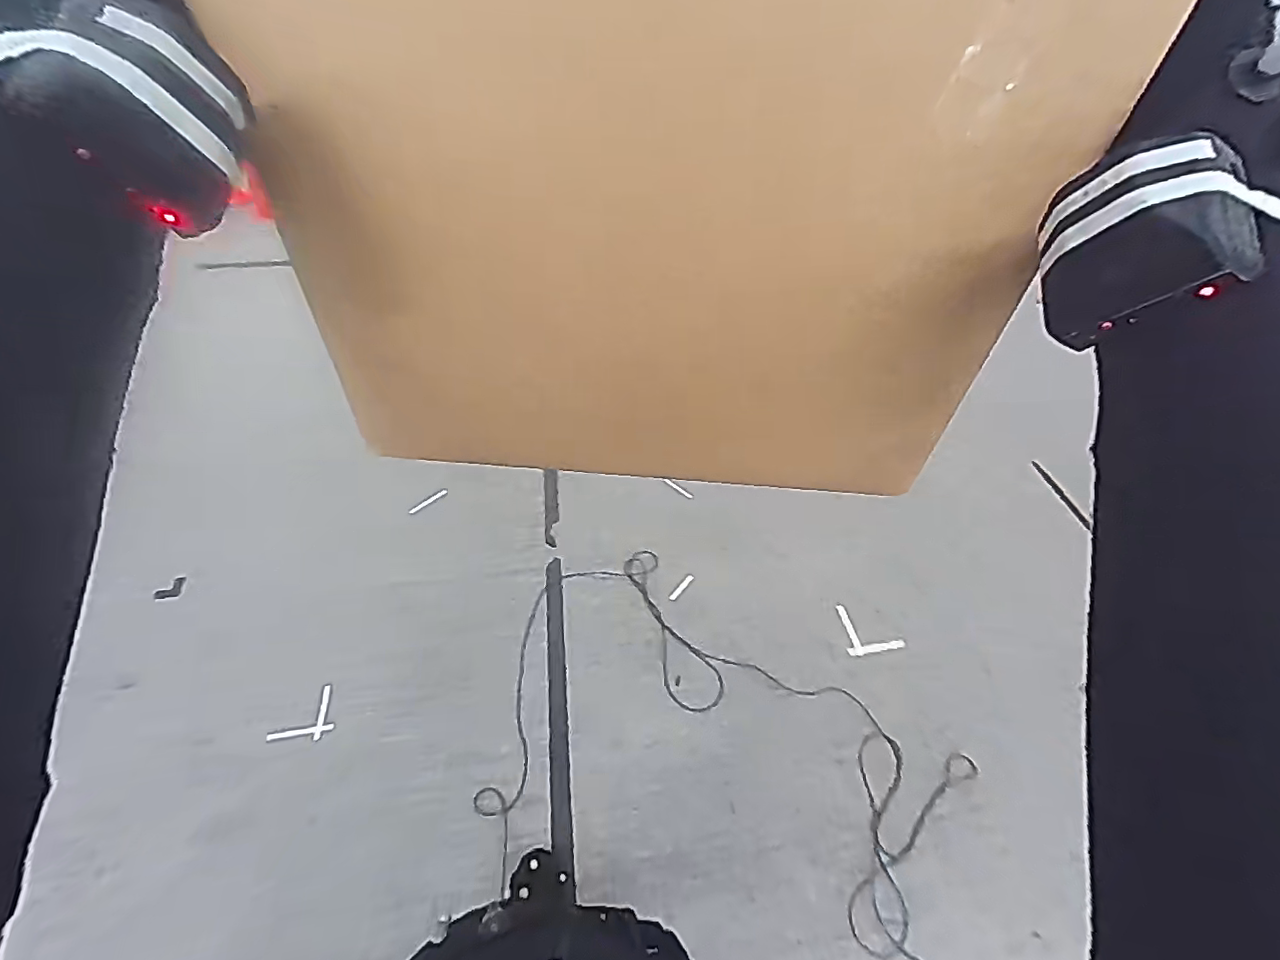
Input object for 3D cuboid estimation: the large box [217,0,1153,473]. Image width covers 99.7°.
[{"bbox_3d":[0.011,-0.225,0.408,0.408,0.320,0.320,5,45,-1],"label":"large box"}]
